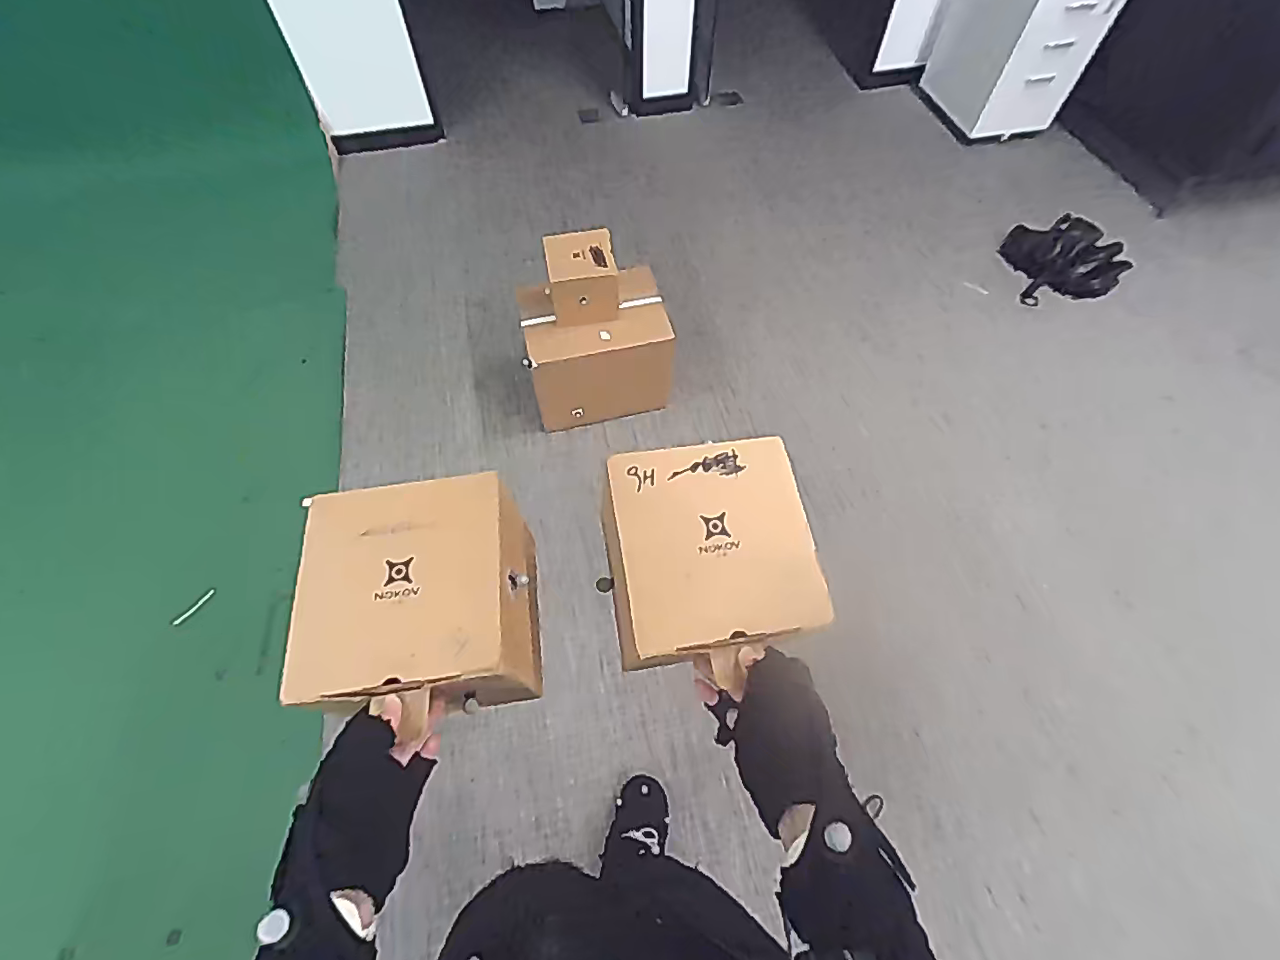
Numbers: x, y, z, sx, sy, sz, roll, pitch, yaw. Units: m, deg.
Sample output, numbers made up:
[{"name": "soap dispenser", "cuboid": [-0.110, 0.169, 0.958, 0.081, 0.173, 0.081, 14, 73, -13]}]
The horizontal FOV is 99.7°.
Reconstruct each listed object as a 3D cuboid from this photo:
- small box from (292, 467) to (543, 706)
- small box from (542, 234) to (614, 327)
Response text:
[{"name": "small box", "cuboid": [-0.192, 0.111, 0.519, 0.168, 0.176, 0.179, -8, 61, -3]}, {"name": "small box", "cuboid": [-0.165, -0.536, 1.463, 0.179, 0.176, 0.168, -6, 64, -5]}]
